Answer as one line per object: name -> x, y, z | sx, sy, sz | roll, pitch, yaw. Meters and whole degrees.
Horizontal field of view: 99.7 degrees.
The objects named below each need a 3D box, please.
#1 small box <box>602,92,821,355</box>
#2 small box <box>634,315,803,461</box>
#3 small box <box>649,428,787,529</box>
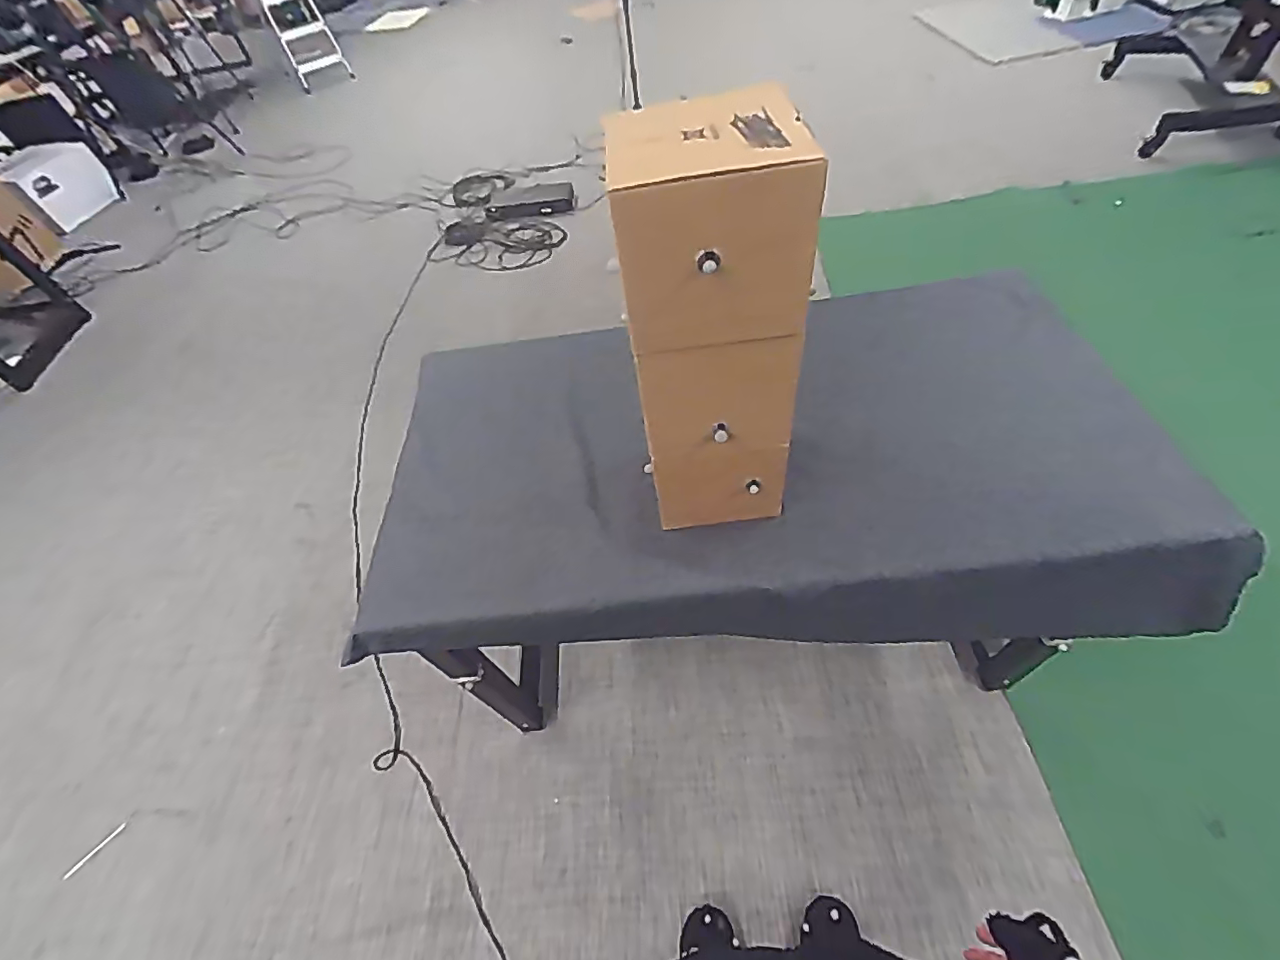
small box -> 0.063, -0.247, 0.537 | 0.179, 0.176, 0.168 | -7, 51, 5
small box -> 0.084, -0.144, 0.667 | 0.179, 0.176, 0.168 | -9, 53, 2
small box -> 0.105, -0.046, 0.793 | 0.179, 0.176, 0.168 | -9, 51, 4
